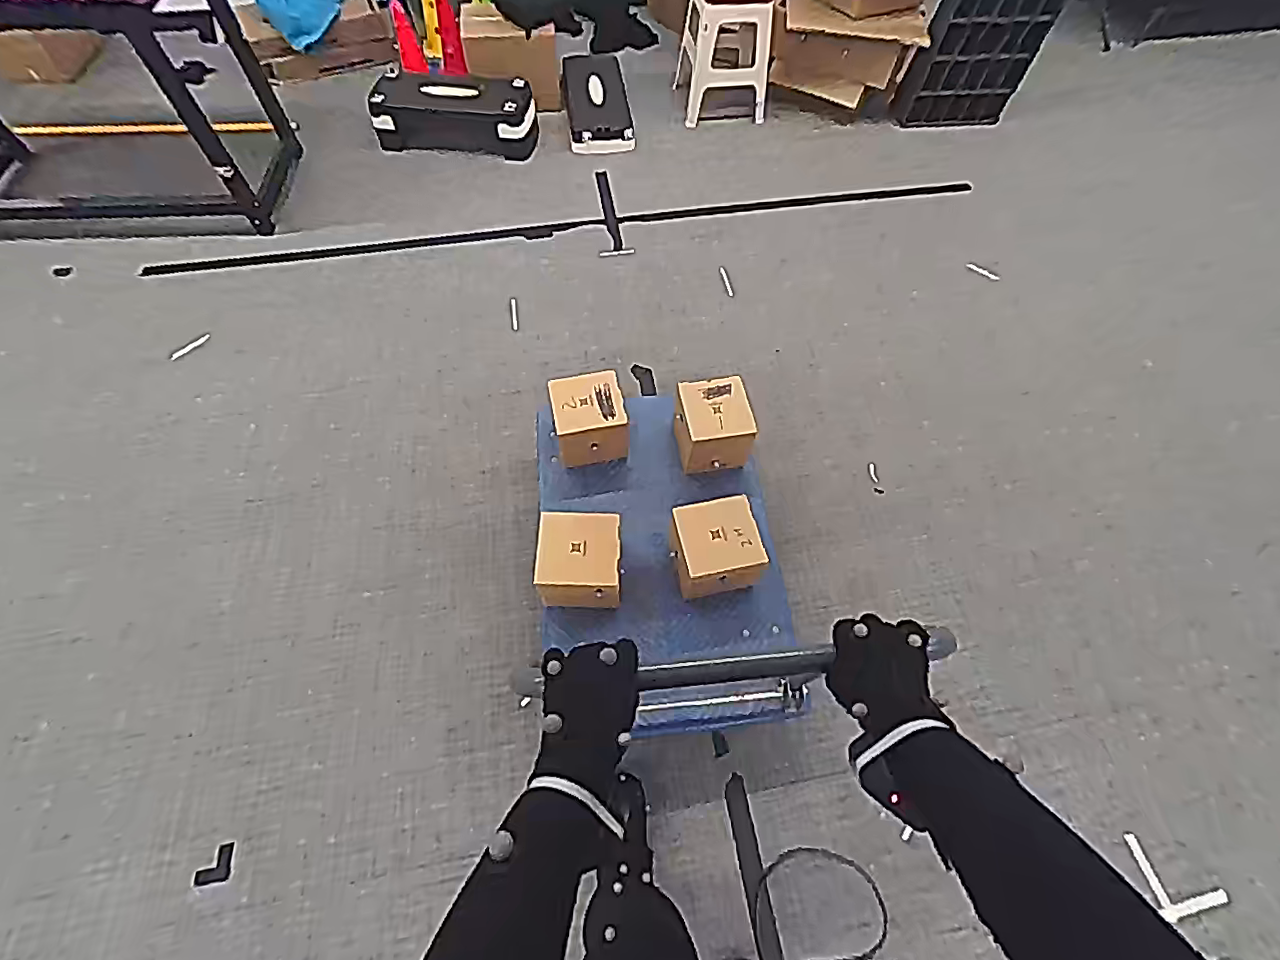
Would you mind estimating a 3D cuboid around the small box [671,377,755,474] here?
[{"bbox_3d":[0.180,-0.138,1.392,0.168,0.176,0.179,-8,63,-6],"label":"small box"}]

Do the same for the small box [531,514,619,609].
[{"bbox_3d":[-0.138,0.186,1.209,0.179,0.176,0.168,1,61,-3],"label":"small box"}]

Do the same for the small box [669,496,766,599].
[{"bbox_3d":[0.165,0.158,1.232,0.179,0.176,0.168,-10,63,-7],"label":"small box"}]
